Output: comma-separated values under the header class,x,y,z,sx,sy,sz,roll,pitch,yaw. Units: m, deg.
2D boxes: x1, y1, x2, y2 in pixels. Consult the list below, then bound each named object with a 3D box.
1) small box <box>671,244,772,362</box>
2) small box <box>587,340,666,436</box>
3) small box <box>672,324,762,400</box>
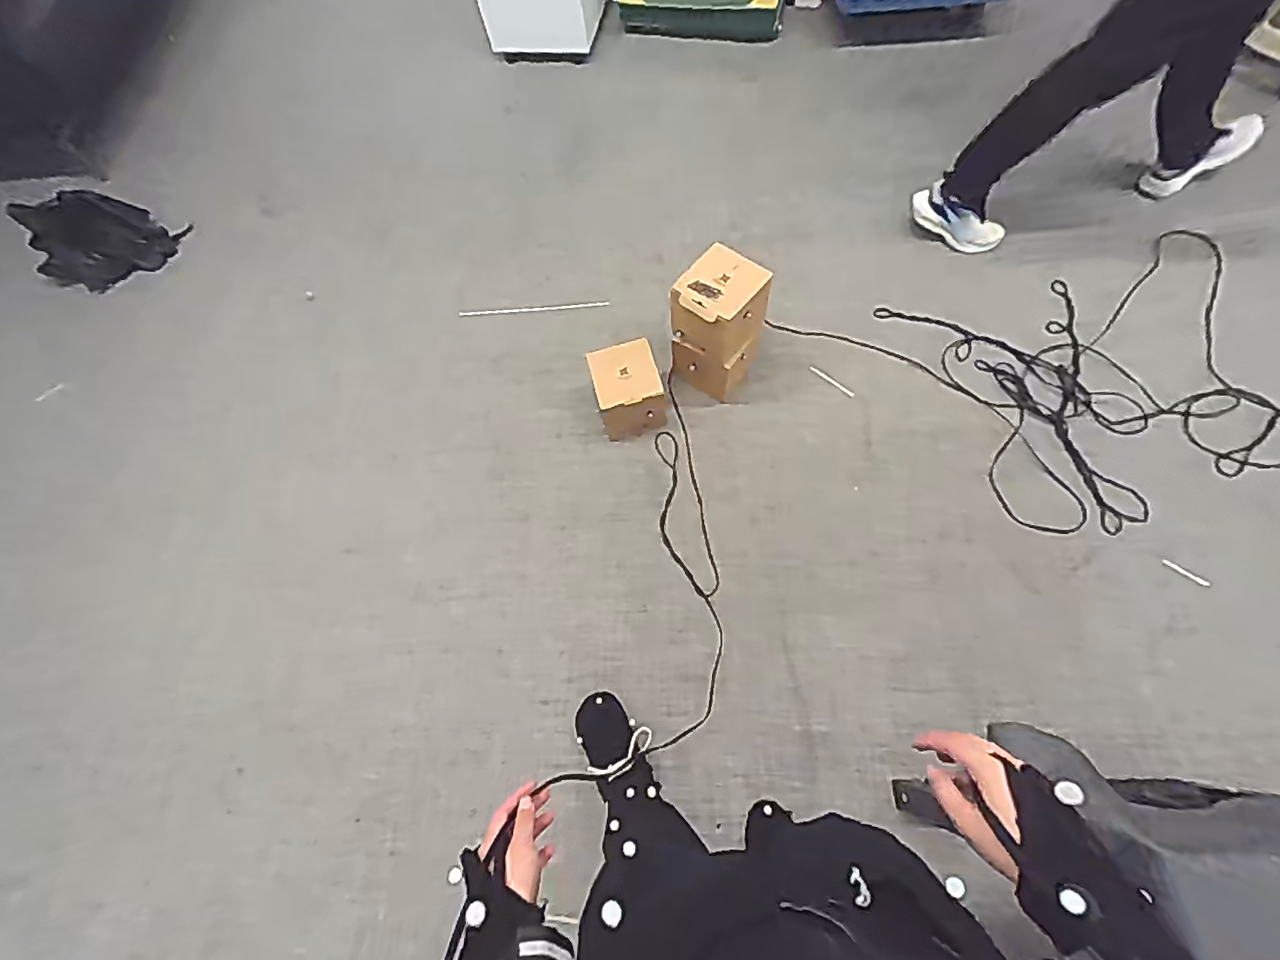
class,x,y,z,sx,sy,sz,roll,pitch,yaw
small box,0.193,-0.419,1.304,0.168,0.176,0.179,38,74,18
small box,-0.030,-0.234,1.430,0.168,0.176,0.179,-16,66,-2
small box,0.203,-0.344,1.451,0.179,0.176,0.168,32,73,17
